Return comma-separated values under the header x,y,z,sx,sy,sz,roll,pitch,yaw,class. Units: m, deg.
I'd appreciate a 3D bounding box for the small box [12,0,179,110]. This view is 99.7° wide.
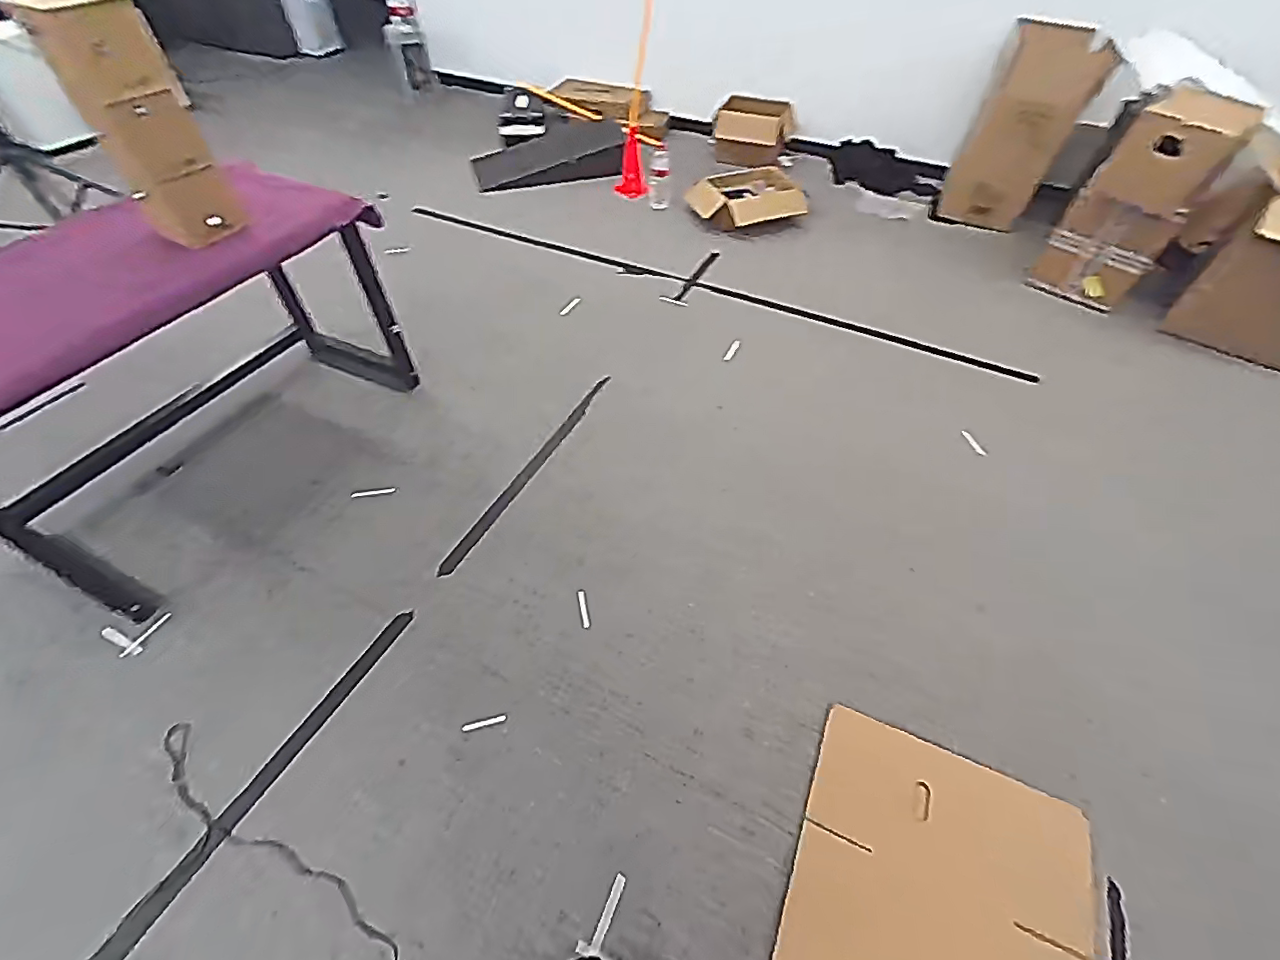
x,y,z,sx,sy,sz,roll,pitch,yaw,class
-1.193,-0.947,1.201,0.179,0.176,0.168,25,56,19,small box

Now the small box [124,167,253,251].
x,y,z,sx,sy,sz,roll,pitch,yaw,class
-1.206,-0.744,1.458,0.179,0.176,0.168,24,55,18,small box

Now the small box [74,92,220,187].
x,y,z,sx,sy,sz,roll,pitch,yaw,class
-1.201,-0.846,1.330,0.179,0.176,0.168,26,55,20,small box
